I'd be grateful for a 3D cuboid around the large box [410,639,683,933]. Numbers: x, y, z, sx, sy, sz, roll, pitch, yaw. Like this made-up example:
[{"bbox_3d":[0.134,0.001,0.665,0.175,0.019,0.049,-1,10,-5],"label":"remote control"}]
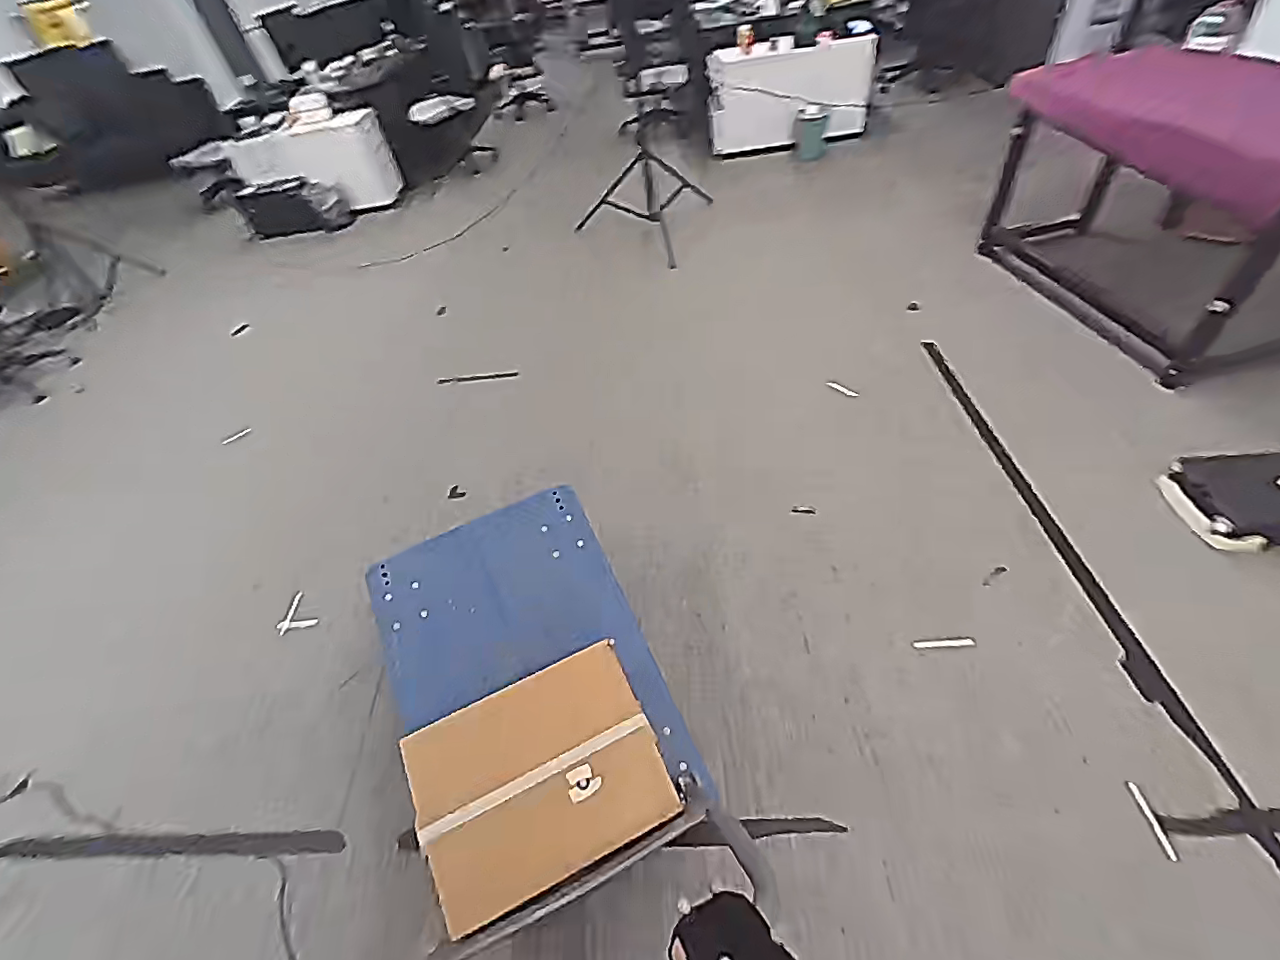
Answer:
[{"bbox_3d":[-0.170,0.576,1.073,0.408,0.320,0.320,-24,67,-13],"label":"large box"}]
